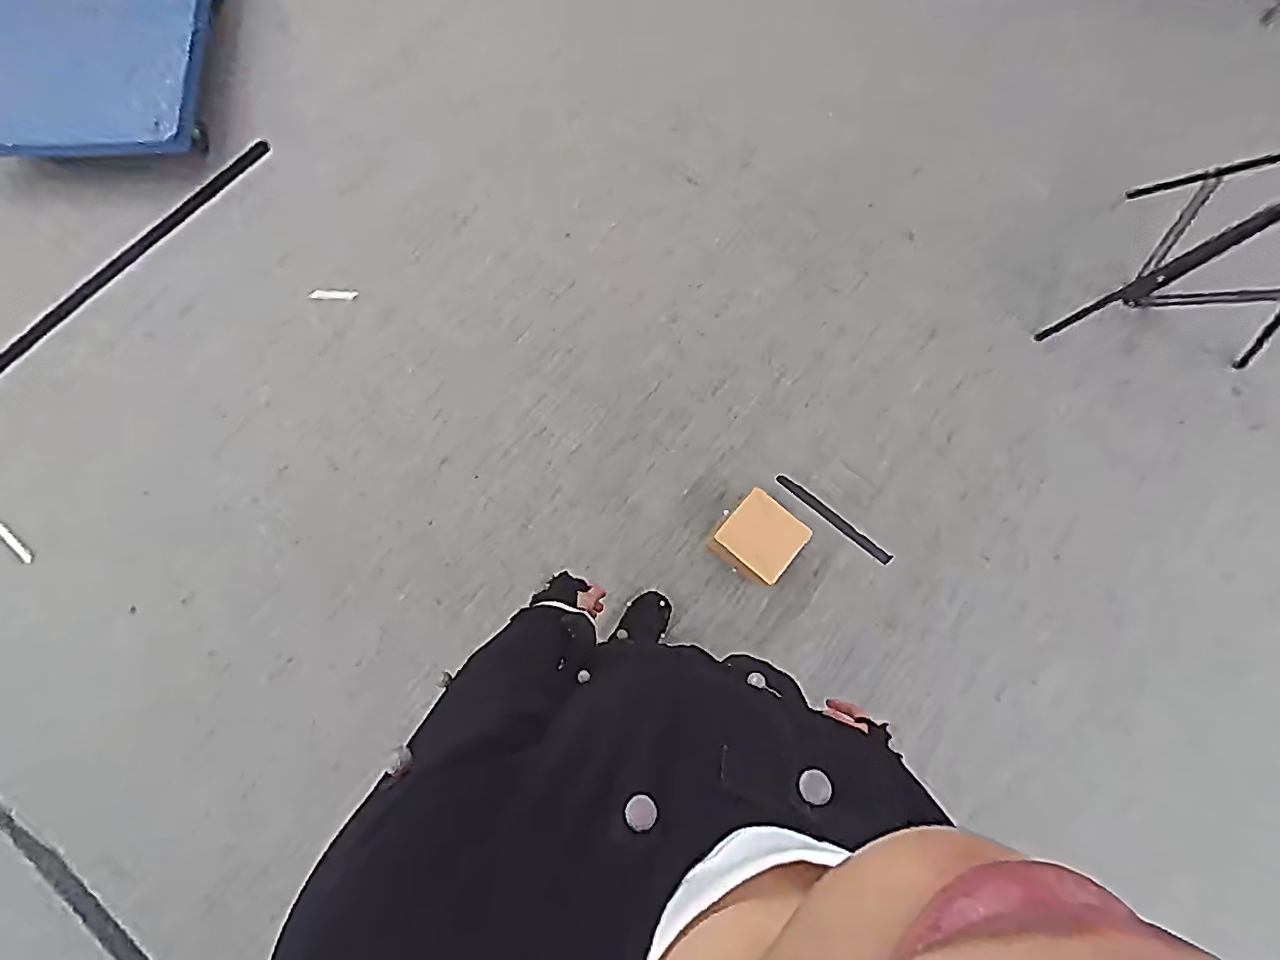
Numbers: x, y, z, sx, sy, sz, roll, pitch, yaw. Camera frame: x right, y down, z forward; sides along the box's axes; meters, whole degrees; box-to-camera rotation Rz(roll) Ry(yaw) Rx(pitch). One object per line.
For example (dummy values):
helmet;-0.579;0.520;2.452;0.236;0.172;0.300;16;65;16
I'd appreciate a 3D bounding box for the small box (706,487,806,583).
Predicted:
small box;0.289;0.140;1.346;0.179;0.176;0.168;41;81;6
